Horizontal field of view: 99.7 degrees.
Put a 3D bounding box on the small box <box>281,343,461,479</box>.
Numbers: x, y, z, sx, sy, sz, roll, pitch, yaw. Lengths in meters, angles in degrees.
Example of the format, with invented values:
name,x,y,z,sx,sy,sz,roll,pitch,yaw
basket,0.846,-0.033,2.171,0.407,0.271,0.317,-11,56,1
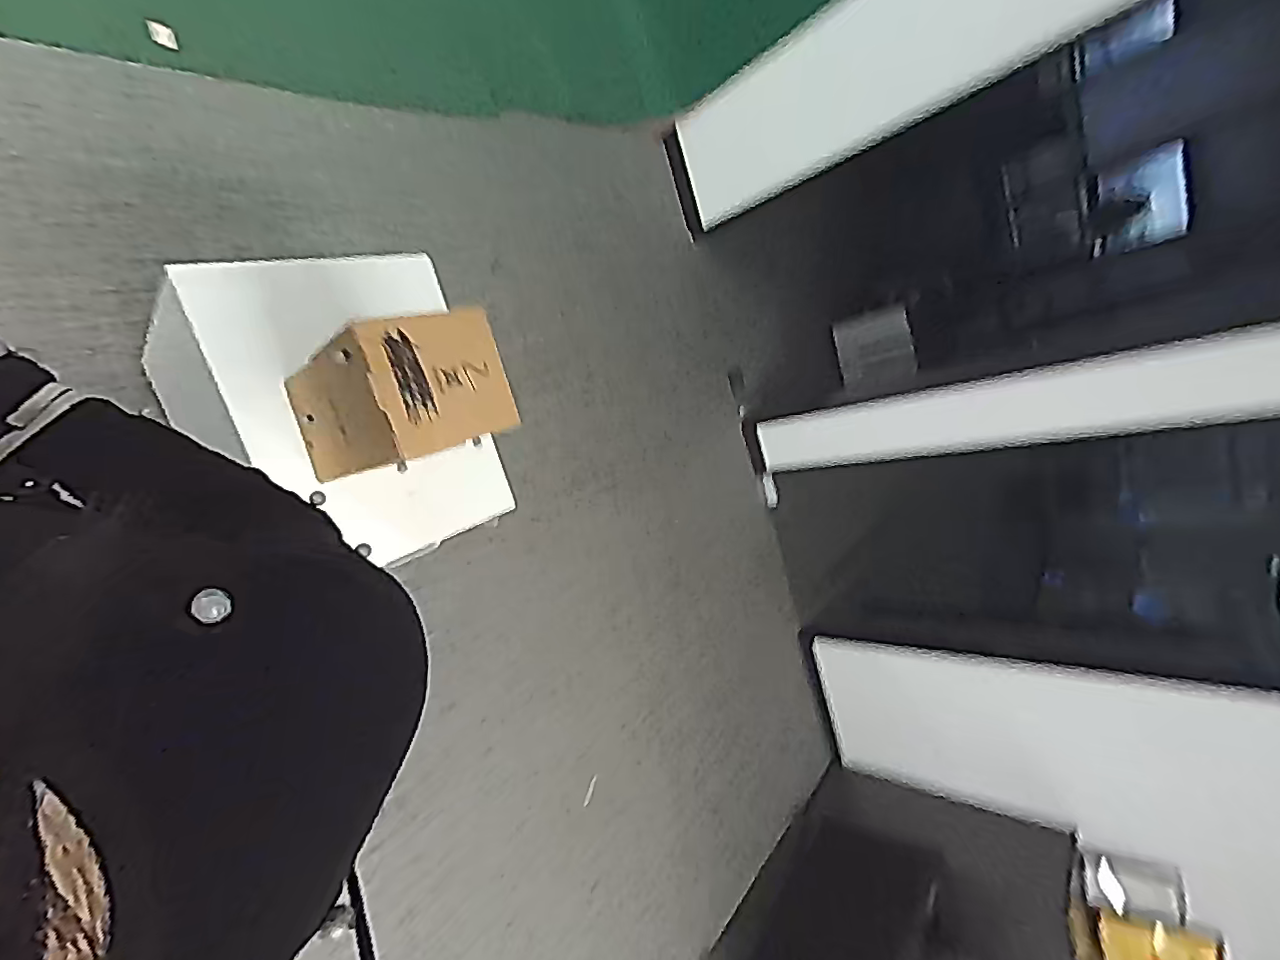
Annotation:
name,x,y,z,sx,sy,sz,roll,pitch,yaw
small box,-0.414,-0.105,0.834,0.179,0.176,0.168,-23,101,-46
